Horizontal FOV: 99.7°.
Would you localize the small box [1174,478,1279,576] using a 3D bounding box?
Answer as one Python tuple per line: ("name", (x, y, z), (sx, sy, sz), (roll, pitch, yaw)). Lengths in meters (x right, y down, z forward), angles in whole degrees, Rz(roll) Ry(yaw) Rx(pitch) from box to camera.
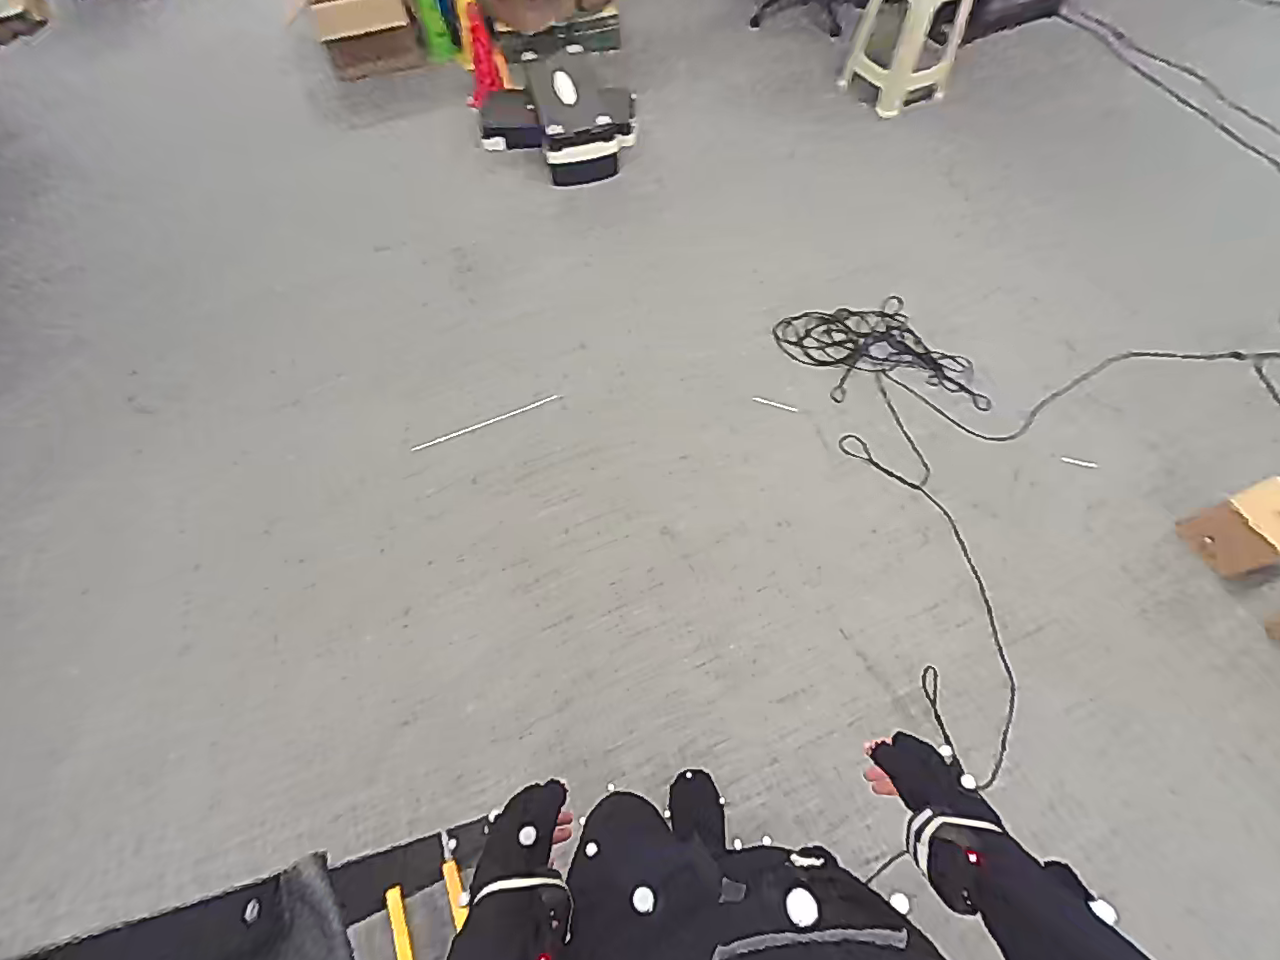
("small box", (1.565, 0.126, 1.396), (0.179, 0.176, 0.168), (-21, 64, -8))
